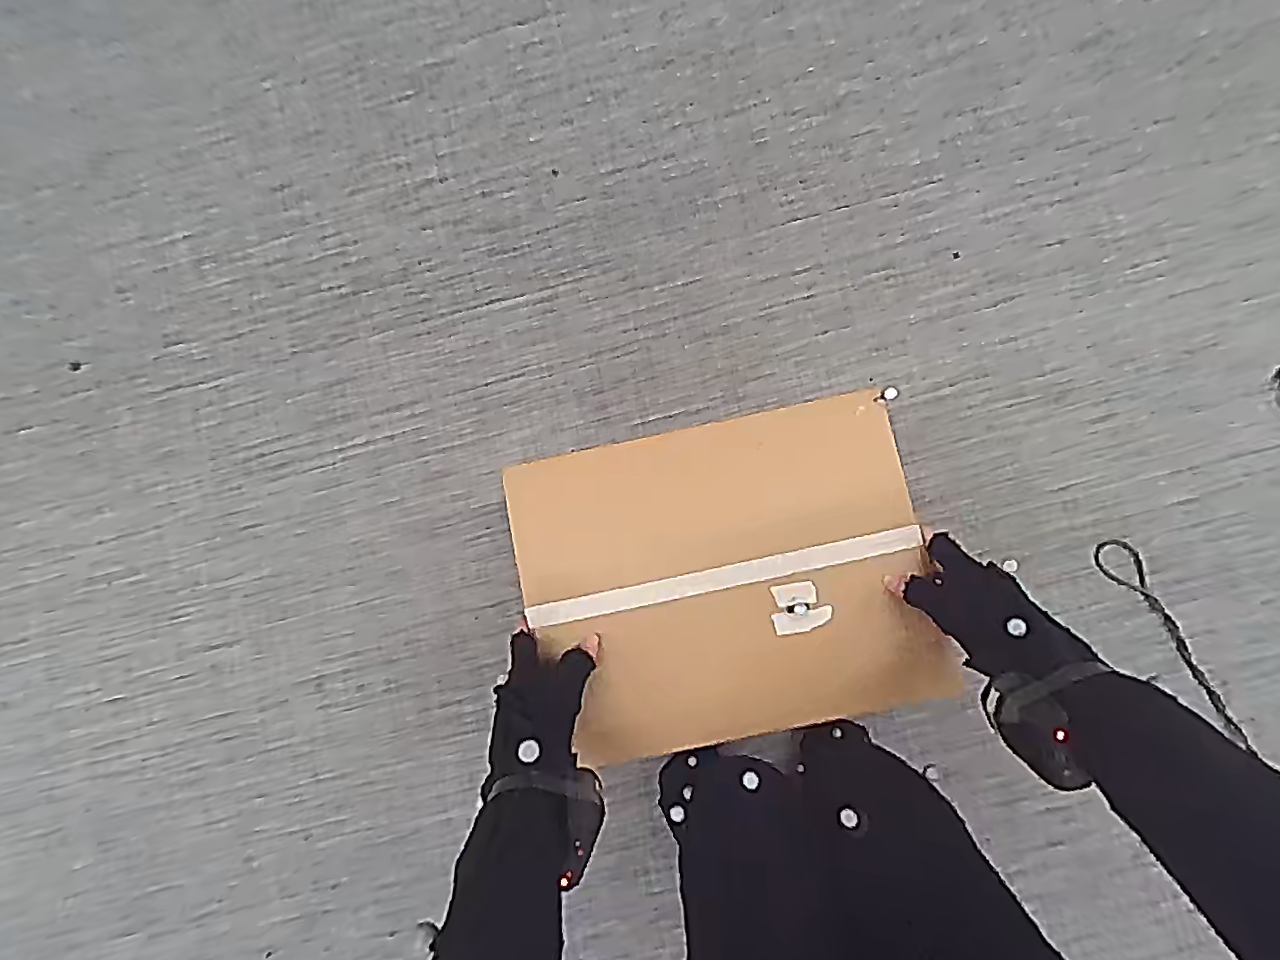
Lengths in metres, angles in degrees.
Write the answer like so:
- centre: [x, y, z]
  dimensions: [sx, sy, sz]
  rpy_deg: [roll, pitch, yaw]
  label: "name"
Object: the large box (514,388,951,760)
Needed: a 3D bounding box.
- centre: [0.092, 0.111, 0.709]
  dimensions: [0.408, 0.320, 0.320]
  rpy_deg: [-12, 84, 1]
  label: "large box"
